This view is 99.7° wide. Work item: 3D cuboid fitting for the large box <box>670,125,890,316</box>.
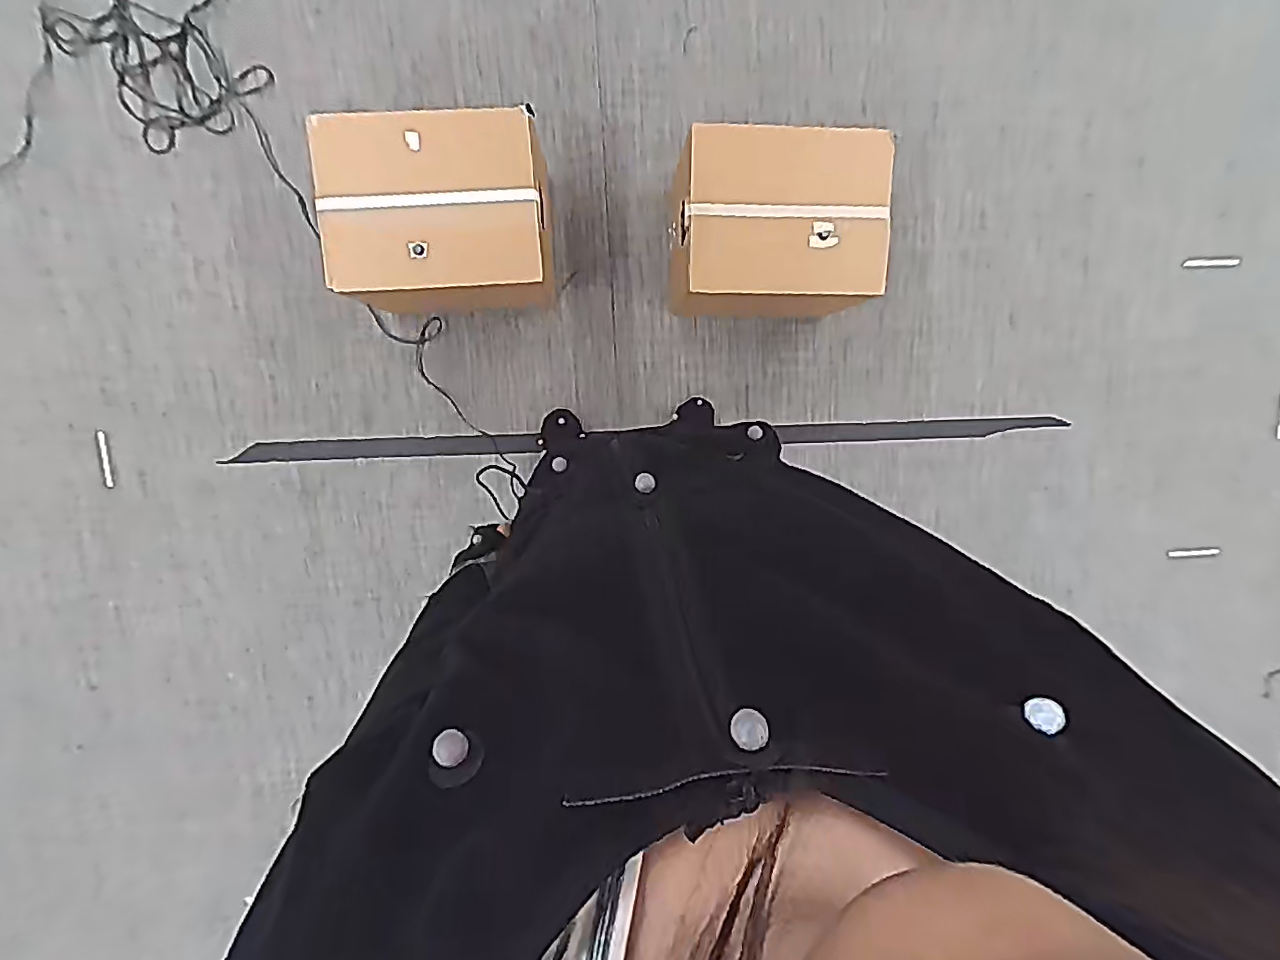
[{"bbox_3d":[0.286,-0.554,1.219,0.408,0.320,0.320,0,99,-5],"label":"large box"}]
